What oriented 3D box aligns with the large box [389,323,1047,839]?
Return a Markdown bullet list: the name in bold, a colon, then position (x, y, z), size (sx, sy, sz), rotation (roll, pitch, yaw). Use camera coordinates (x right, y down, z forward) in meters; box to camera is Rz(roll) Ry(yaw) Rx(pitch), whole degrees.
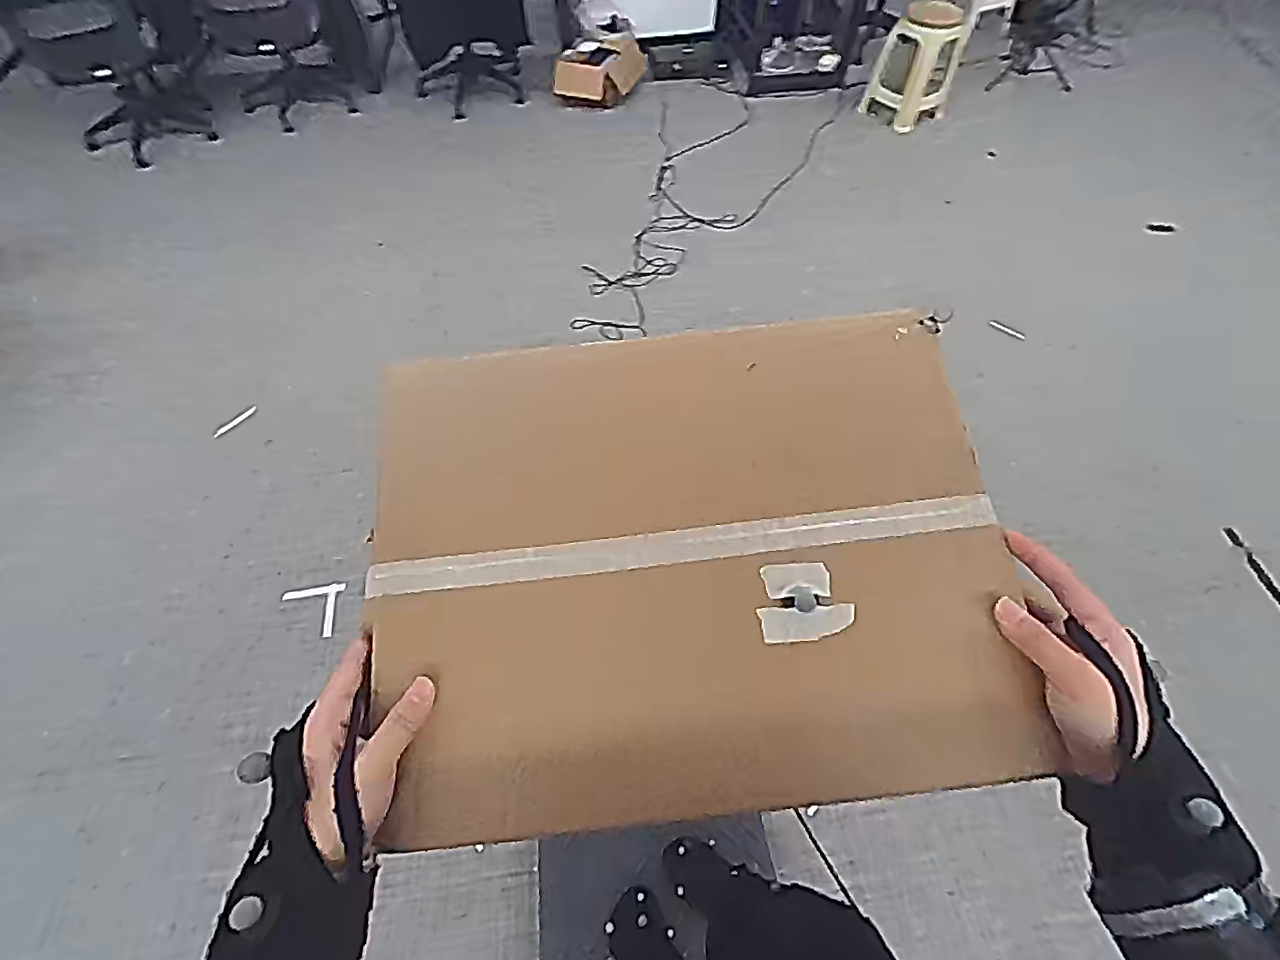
- **large box**: position (0.034, 0.091, 0.506), size (0.408, 0.320, 0.320), rotation (-6, 73, -1)
